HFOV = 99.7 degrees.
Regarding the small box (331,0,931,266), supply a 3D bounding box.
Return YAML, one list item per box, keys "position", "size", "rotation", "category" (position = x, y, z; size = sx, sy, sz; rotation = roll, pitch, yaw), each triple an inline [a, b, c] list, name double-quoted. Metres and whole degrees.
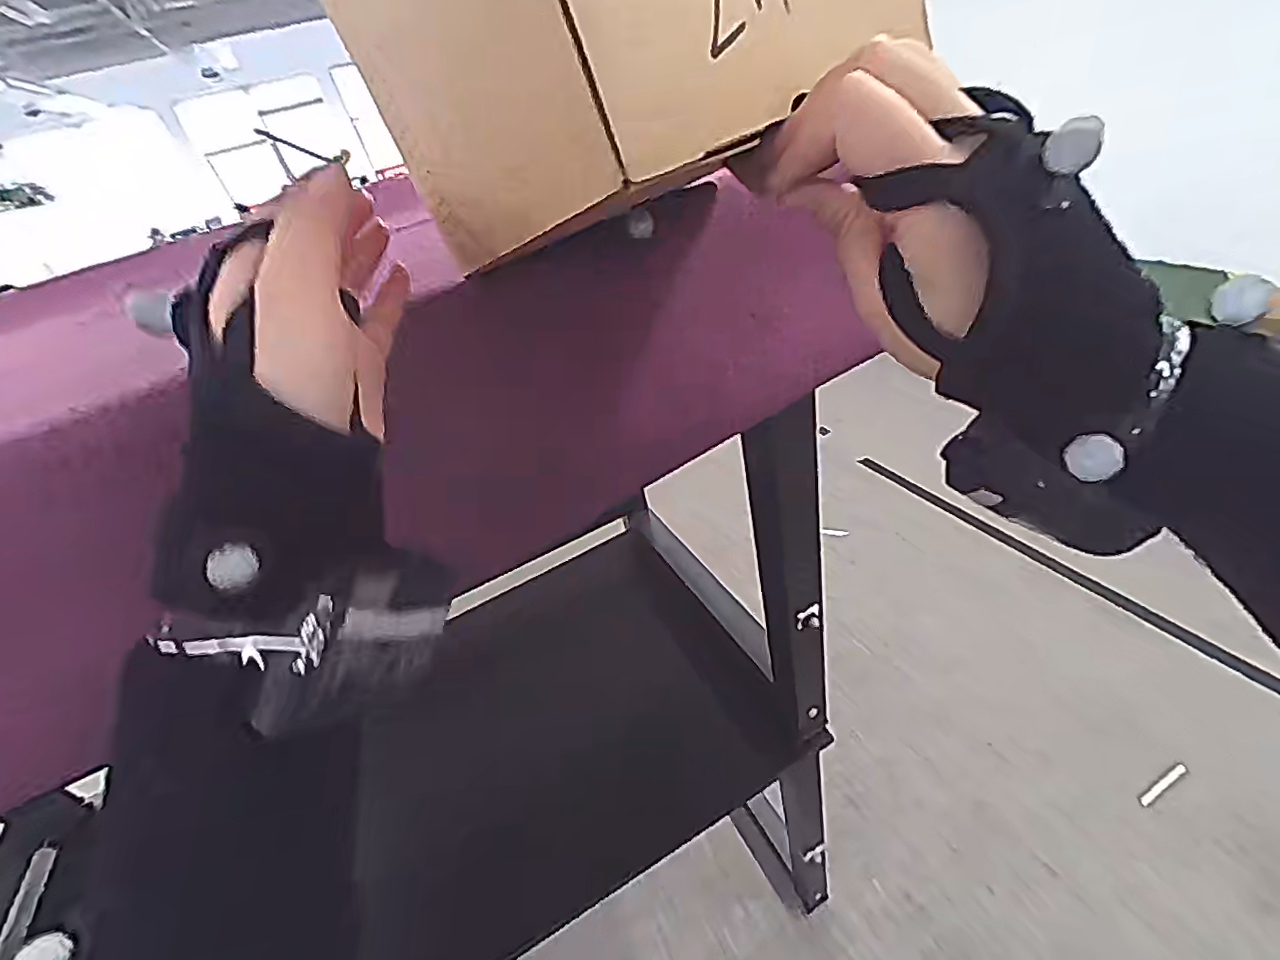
- position: [-0.018, -0.211, 0.219]
  size: [0.168, 0.179, 0.176]
  rotation: [-35, 26, -25]
  category: "small box"
